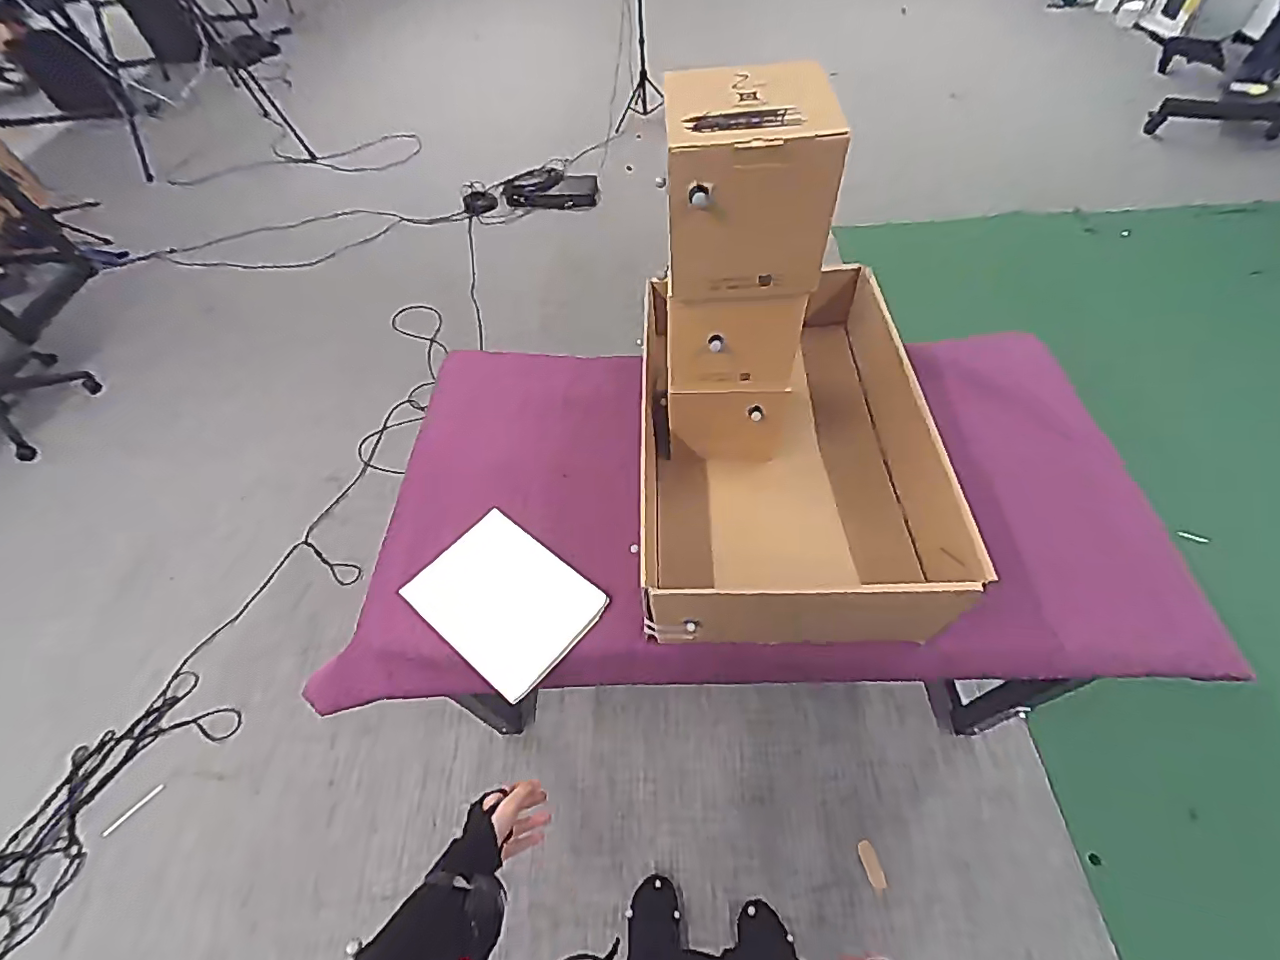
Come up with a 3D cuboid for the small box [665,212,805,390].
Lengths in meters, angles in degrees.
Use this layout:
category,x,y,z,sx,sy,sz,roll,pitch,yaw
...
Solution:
category,x,y,z,sx,sy,sz,roll,pitch,yaw
small box,0.122,-0.238,0.743,0.168,0.176,0.179,-1,55,5
